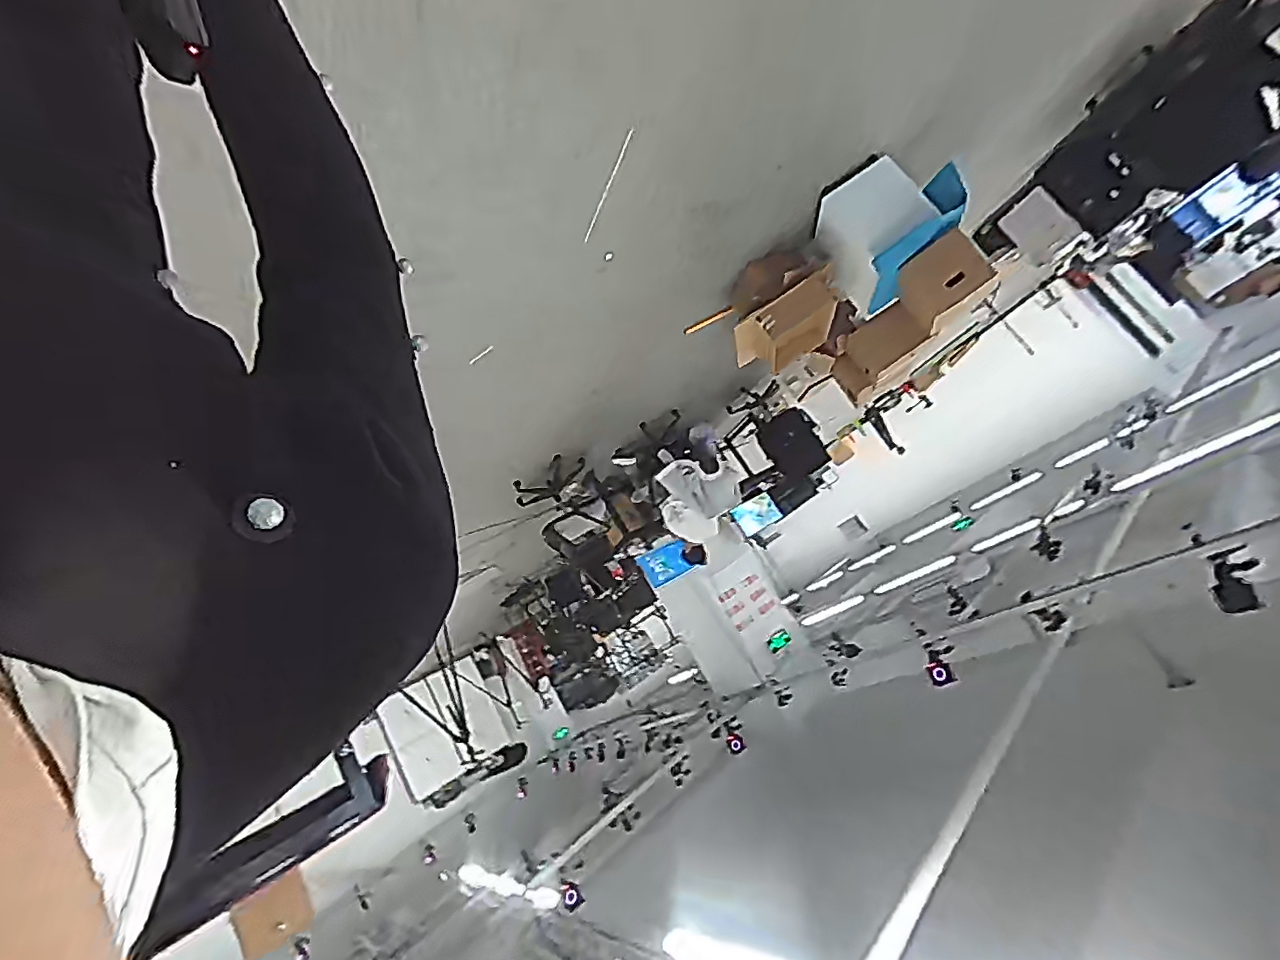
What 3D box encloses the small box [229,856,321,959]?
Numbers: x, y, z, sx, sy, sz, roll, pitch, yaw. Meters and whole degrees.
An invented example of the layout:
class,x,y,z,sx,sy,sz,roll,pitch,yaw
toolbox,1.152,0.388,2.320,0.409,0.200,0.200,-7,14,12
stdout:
class,x,y,z,sx,sy,sz,roll,pitch,yaw
small box,-1.050,1.220,1.560,0.179,0.176,0.168,-20,163,-39
